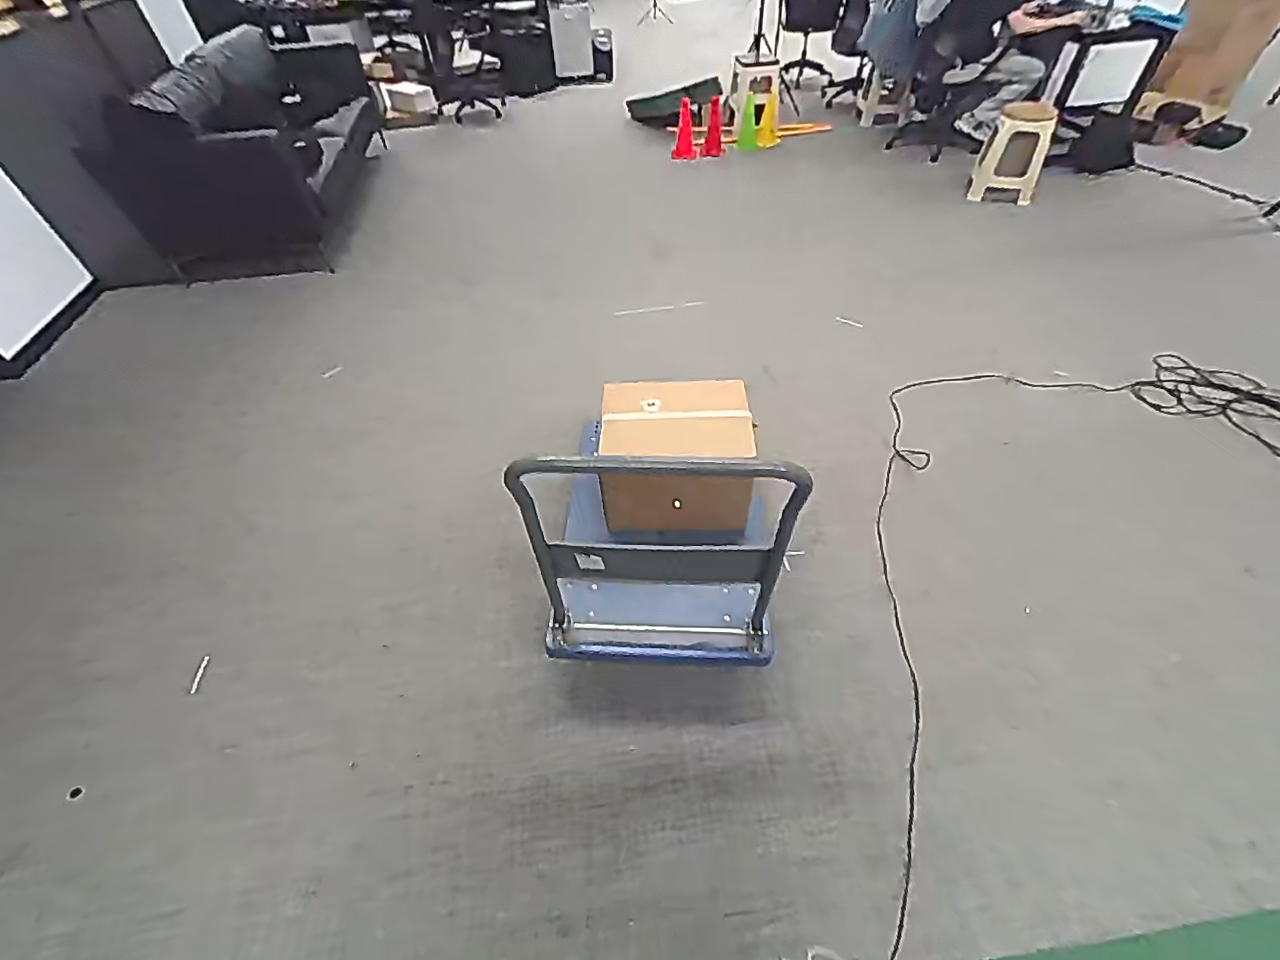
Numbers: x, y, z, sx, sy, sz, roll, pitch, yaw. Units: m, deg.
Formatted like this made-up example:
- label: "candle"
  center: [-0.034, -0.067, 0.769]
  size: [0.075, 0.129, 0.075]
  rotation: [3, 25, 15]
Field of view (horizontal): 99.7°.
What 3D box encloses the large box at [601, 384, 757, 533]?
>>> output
- label: "large box"
  center: [0.108, -0.058, 1.580]
  size: [0.408, 0.320, 0.320]
  rotation: [-1, 47, 3]
